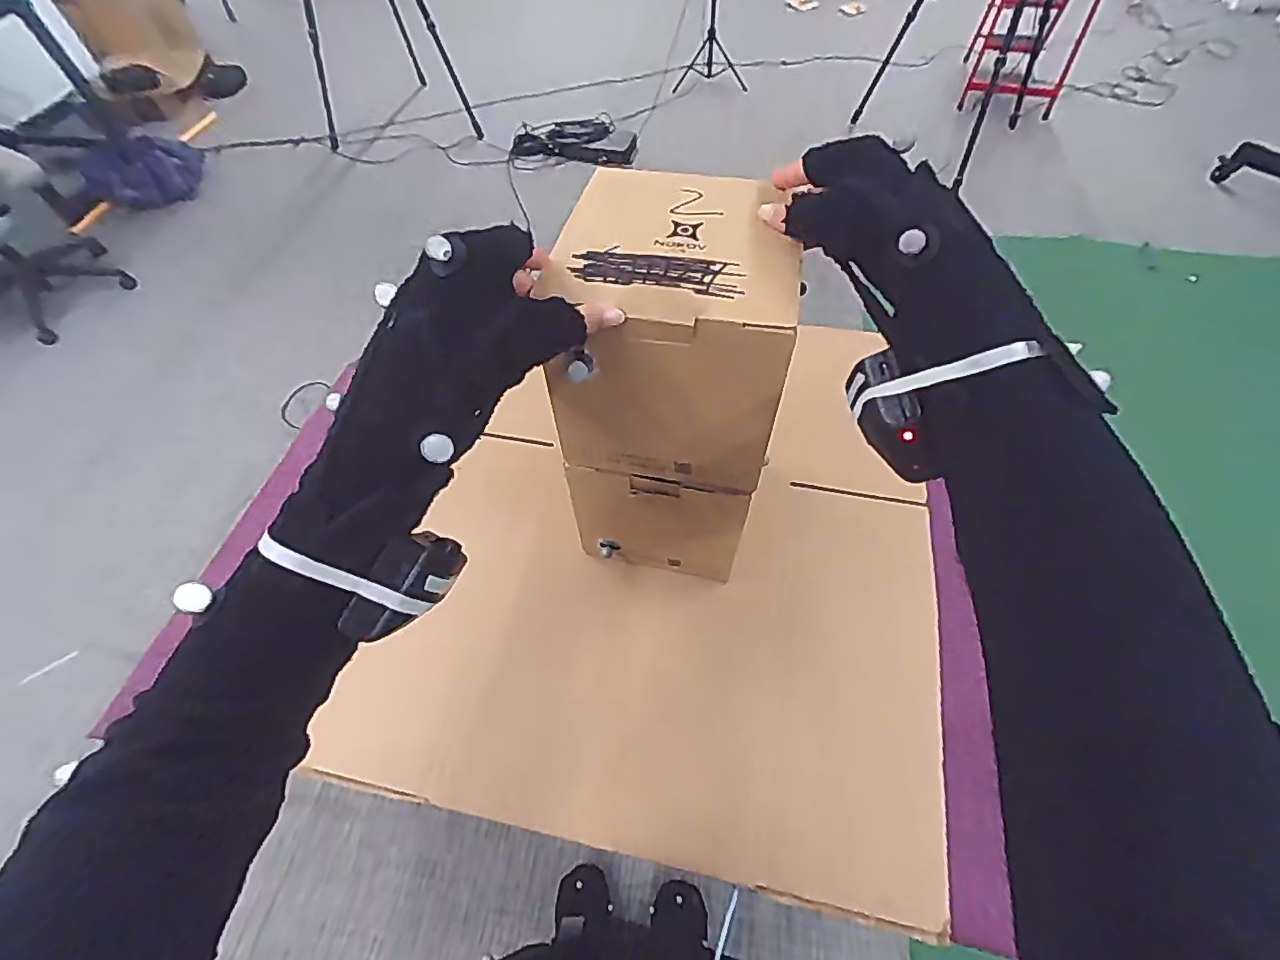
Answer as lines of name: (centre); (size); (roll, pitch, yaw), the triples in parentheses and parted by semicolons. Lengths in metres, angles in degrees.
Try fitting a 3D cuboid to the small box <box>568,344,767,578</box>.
small box: (0.035, -0.015, 0.568); (0.168, 0.176, 0.179); (8, 57, 7)
